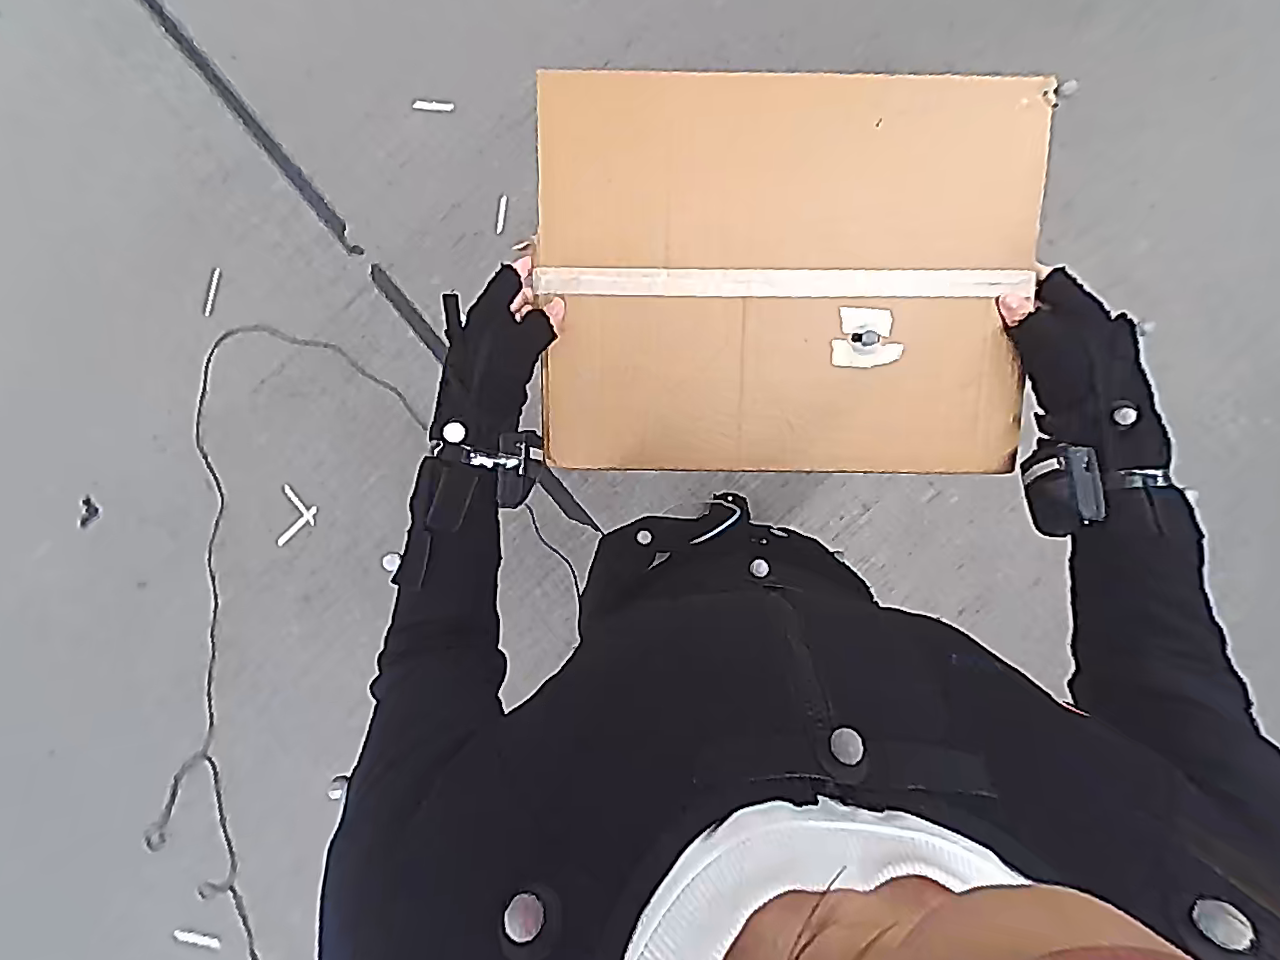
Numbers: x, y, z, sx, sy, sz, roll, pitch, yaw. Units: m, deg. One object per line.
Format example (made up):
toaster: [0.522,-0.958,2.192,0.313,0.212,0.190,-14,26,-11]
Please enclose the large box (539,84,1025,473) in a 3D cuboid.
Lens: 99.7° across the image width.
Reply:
large box: [0.116,-0.185,0.605,0.408,0.320,0.320,-1,99,-1]
